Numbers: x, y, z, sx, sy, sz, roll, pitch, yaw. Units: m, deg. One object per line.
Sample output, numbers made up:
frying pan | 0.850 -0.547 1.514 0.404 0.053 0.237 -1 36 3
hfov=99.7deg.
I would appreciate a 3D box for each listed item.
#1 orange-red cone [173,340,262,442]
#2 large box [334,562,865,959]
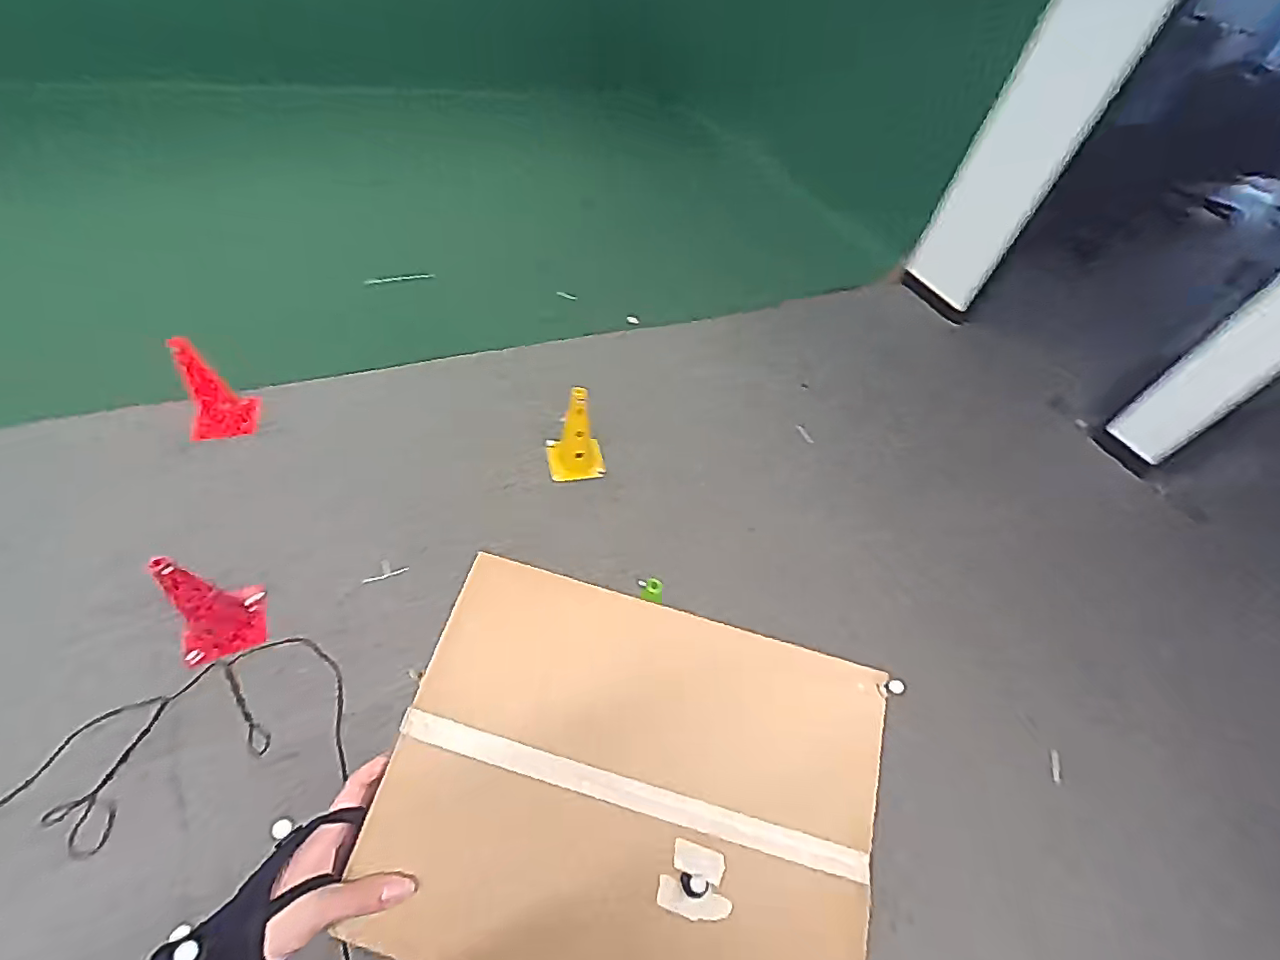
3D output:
orange-red cone | -1.512 -0.329 1.880 0.199 0.360 0.198 -9 53 -15
large box | -0.021 0.320 0.603 0.408 0.320 0.320 15 67 3
